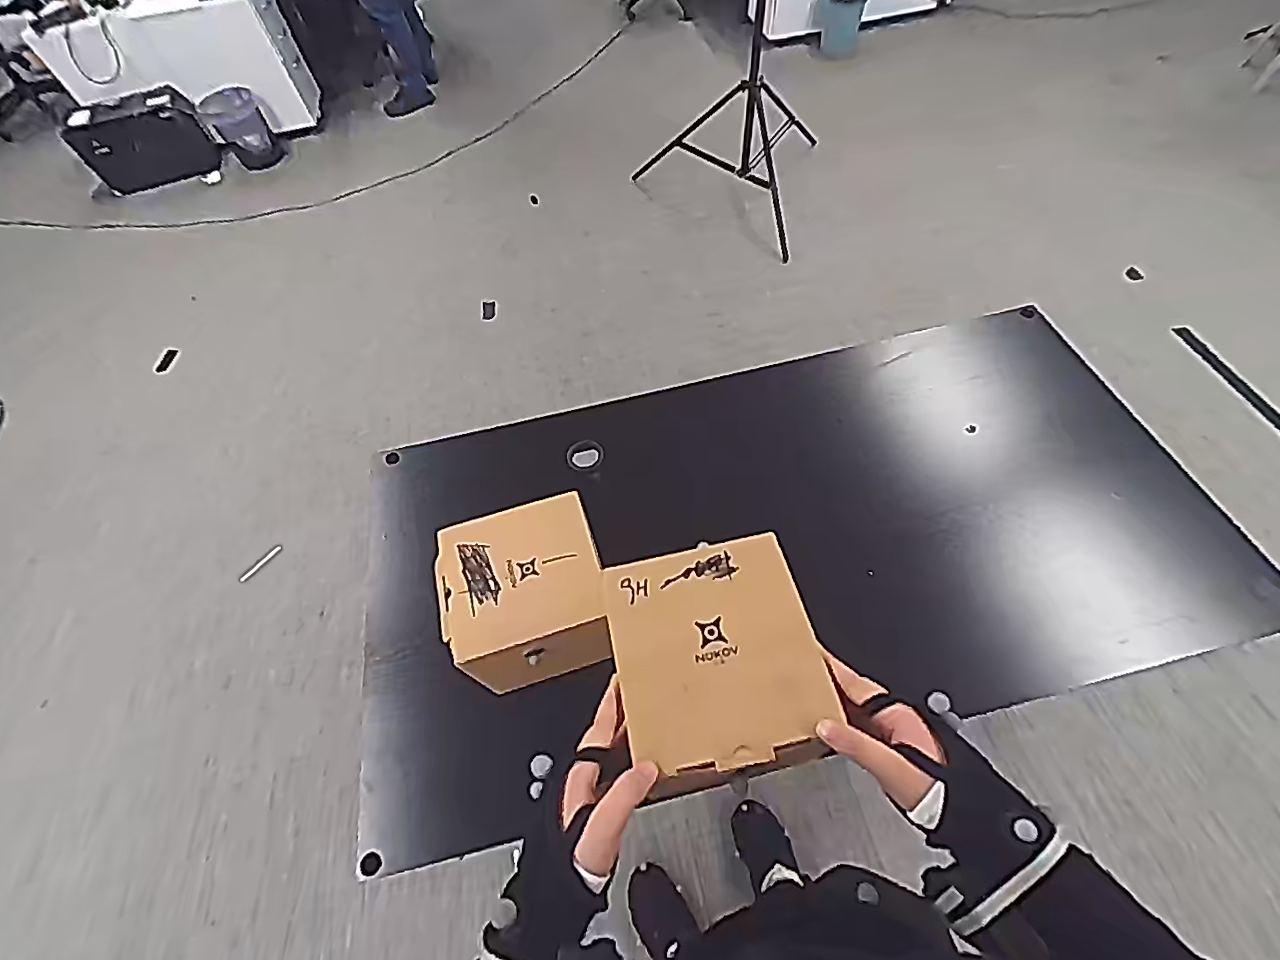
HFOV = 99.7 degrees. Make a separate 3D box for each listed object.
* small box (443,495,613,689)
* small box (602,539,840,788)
[{"bbox_3d":[-0.129,0.150,0.691,0.179,0.176,0.168,-17,59,-7],"label":"small box"},{"bbox_3d":[0.068,0.184,0.521,0.168,0.176,0.179,-12,57,-2],"label":"small box"}]
